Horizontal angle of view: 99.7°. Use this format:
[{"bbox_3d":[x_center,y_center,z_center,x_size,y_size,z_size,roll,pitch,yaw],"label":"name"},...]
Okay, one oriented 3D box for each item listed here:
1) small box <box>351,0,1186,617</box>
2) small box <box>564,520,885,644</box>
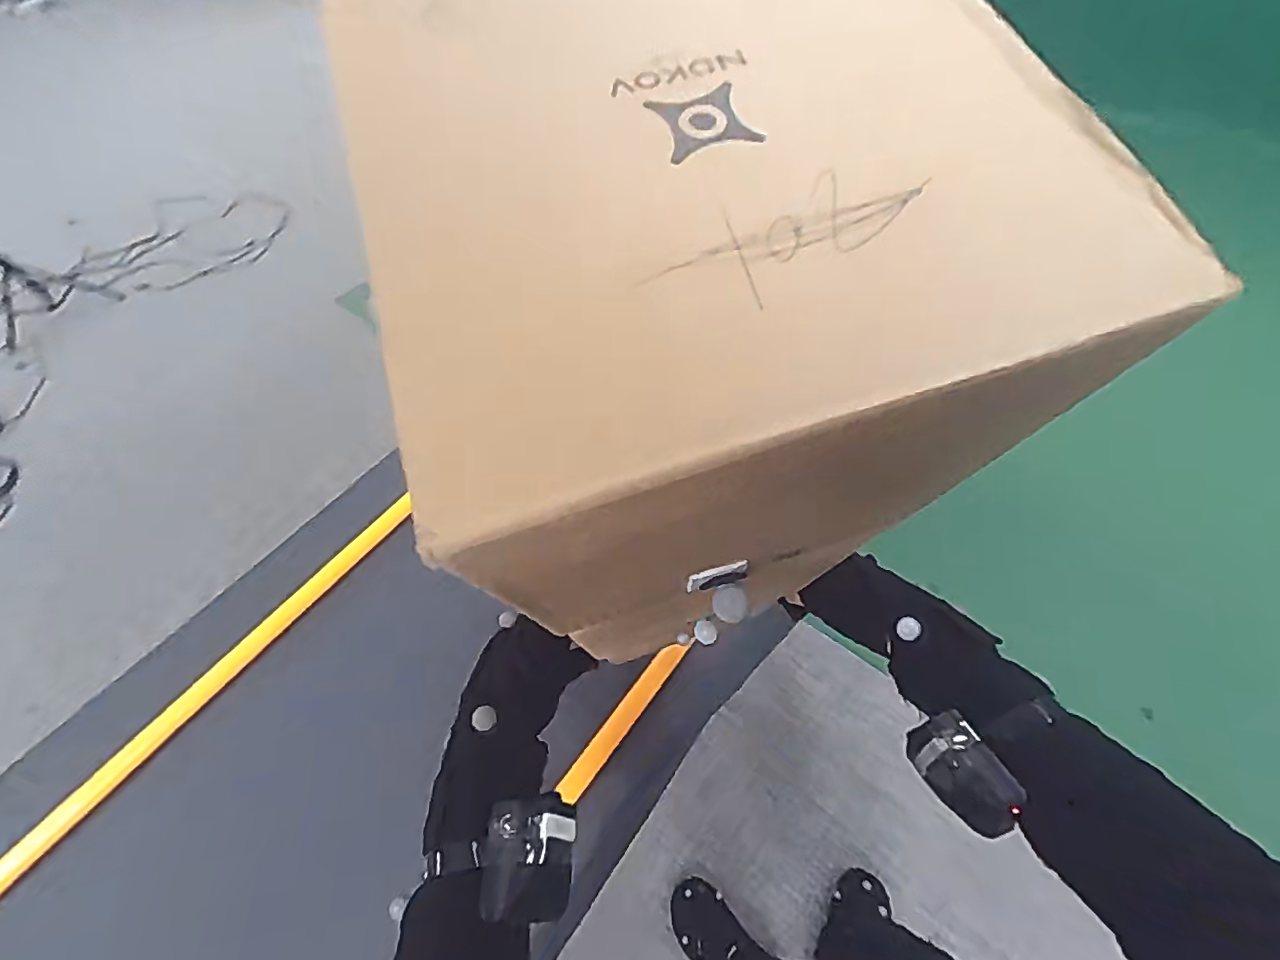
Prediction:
[{"bbox_3d":[0.018,-0.060,0.213,0.168,0.176,0.179,-17,71,-4],"label":"small box"},{"bbox_3d":[0.021,-0.003,0.364,0.168,0.176,0.179,-17,70,-5],"label":"small box"}]
